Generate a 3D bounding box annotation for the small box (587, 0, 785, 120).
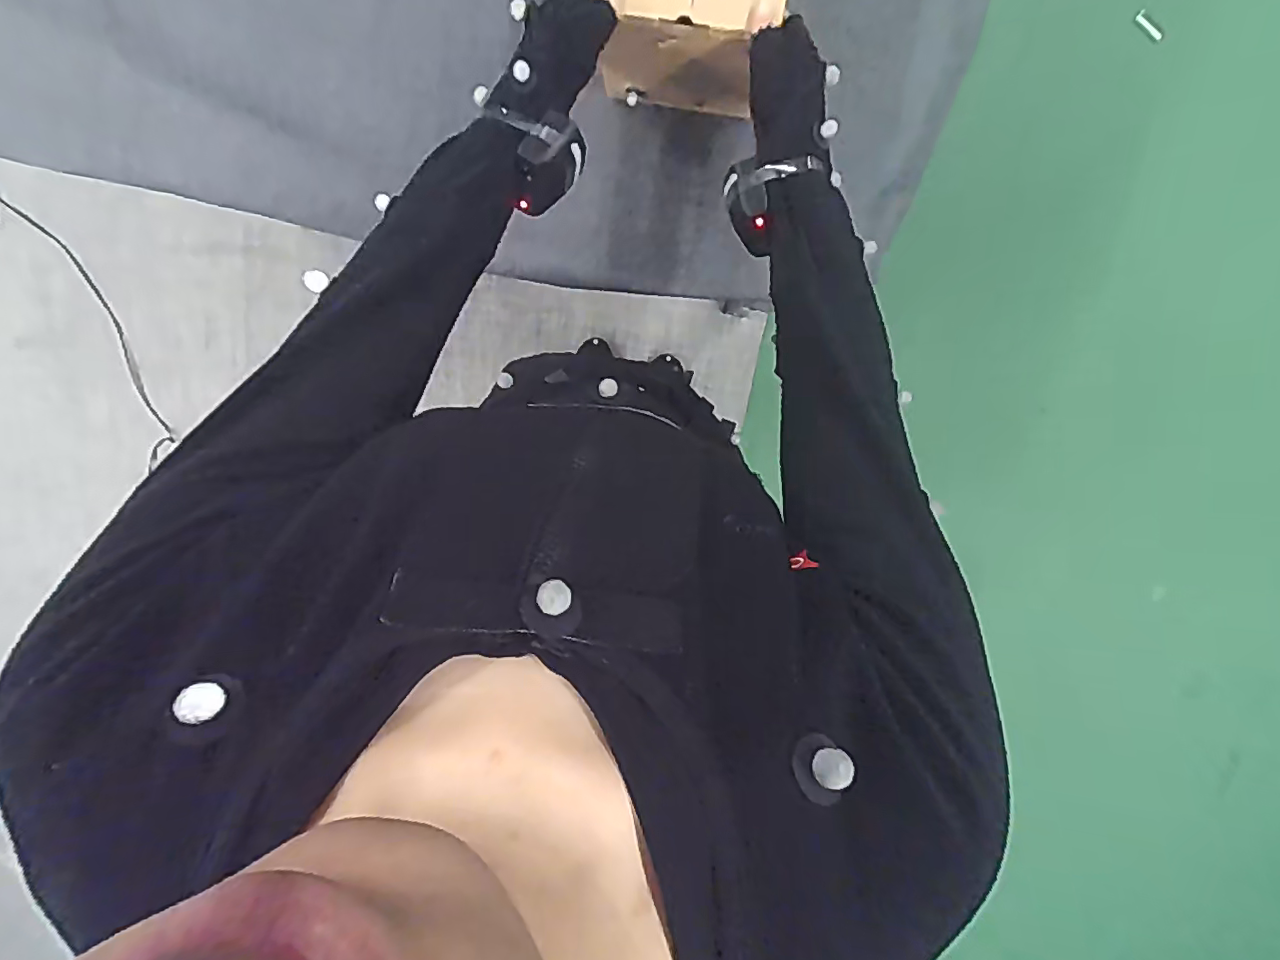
[{"bbox_3d":[0.052,-0.475,0.511,0.168,0.176,0.179,9,103,0],"label":"small box"}]
